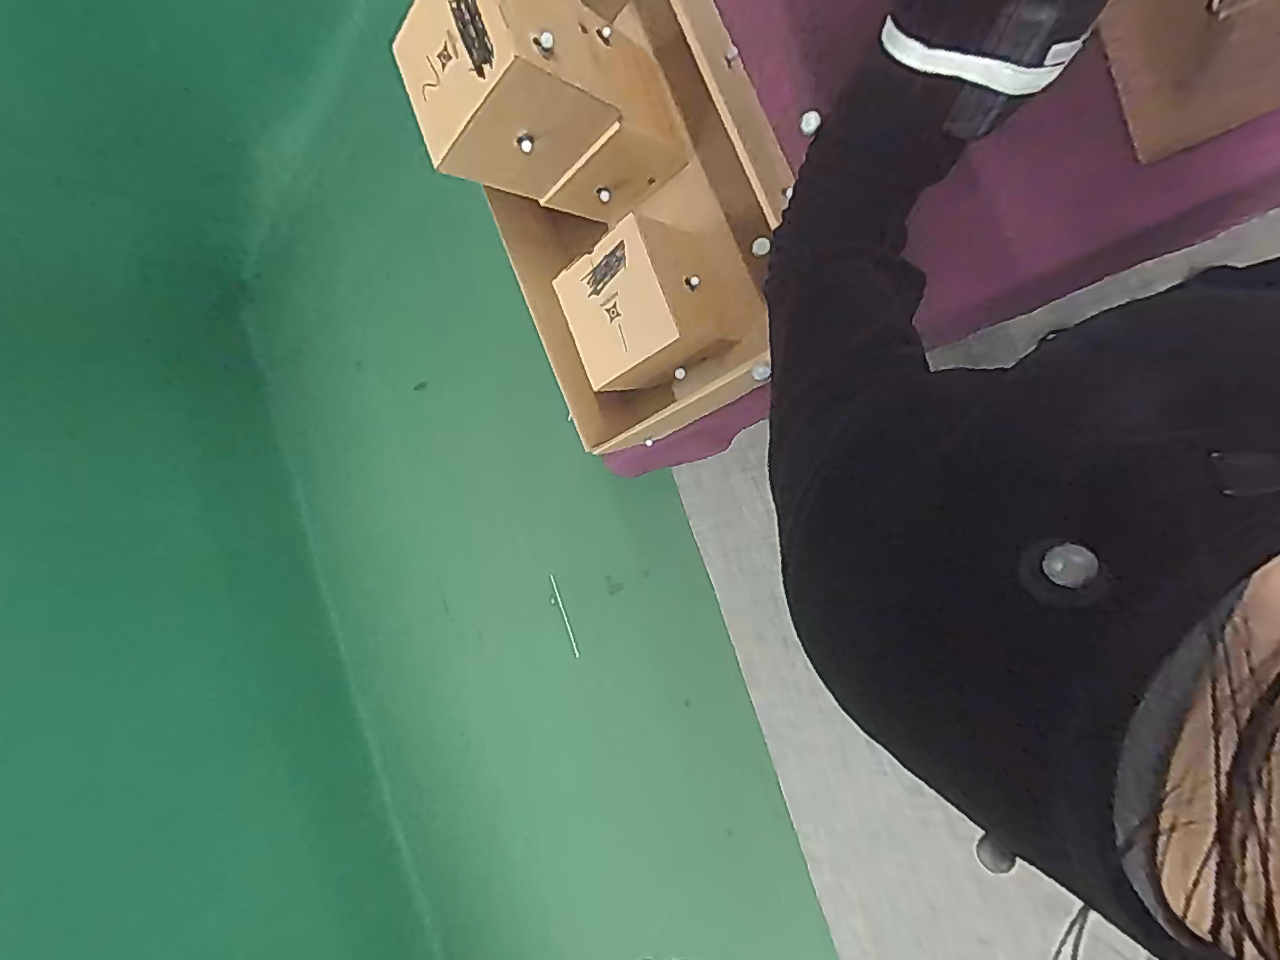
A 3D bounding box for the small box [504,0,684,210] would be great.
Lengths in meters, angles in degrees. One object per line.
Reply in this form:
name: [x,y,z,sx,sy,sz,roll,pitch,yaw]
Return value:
small box: [-0.061,-0.520,0.786,0.168,0.176,0.179,-21,87,40]
